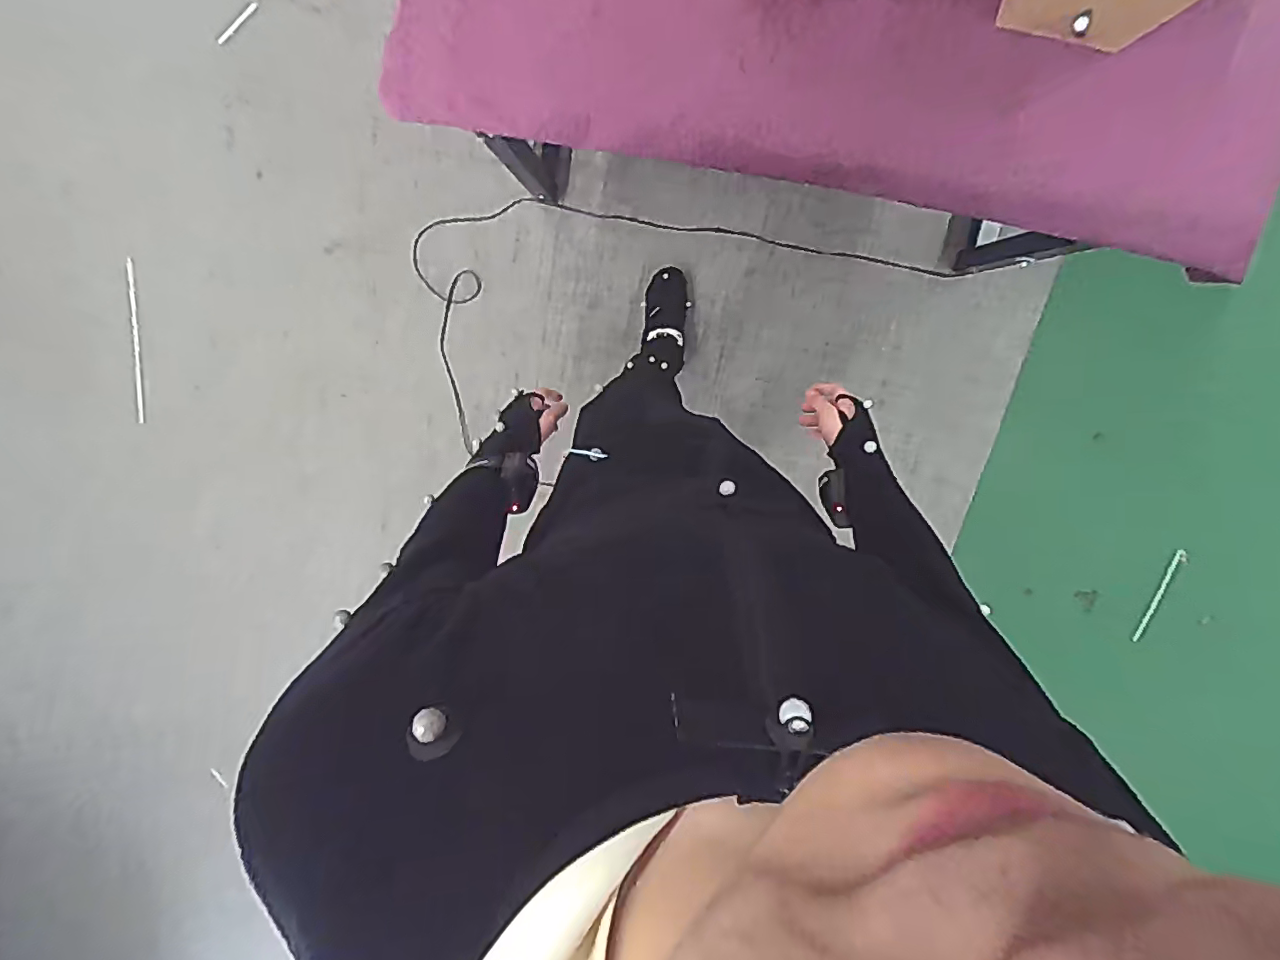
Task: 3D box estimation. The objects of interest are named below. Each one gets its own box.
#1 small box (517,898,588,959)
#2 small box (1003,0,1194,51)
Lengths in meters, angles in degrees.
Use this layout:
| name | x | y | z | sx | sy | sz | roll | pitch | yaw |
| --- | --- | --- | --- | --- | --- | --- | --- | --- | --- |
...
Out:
| name | x | y | z | sx | sy | sz | roll | pitch | yaw |
| --- | --- | --- | --- | --- | --- | --- | --- | --- | --- |
| small box | -0.244 | 1.289 | 1.461 | 0.168 | 0.176 | 0.179 | 13 | 104 | 0 |
| small box | 0.551 | -0.633 | 0.600 | 0.168 | 0.176 | 0.179 | 13 | 105 | 0 |
